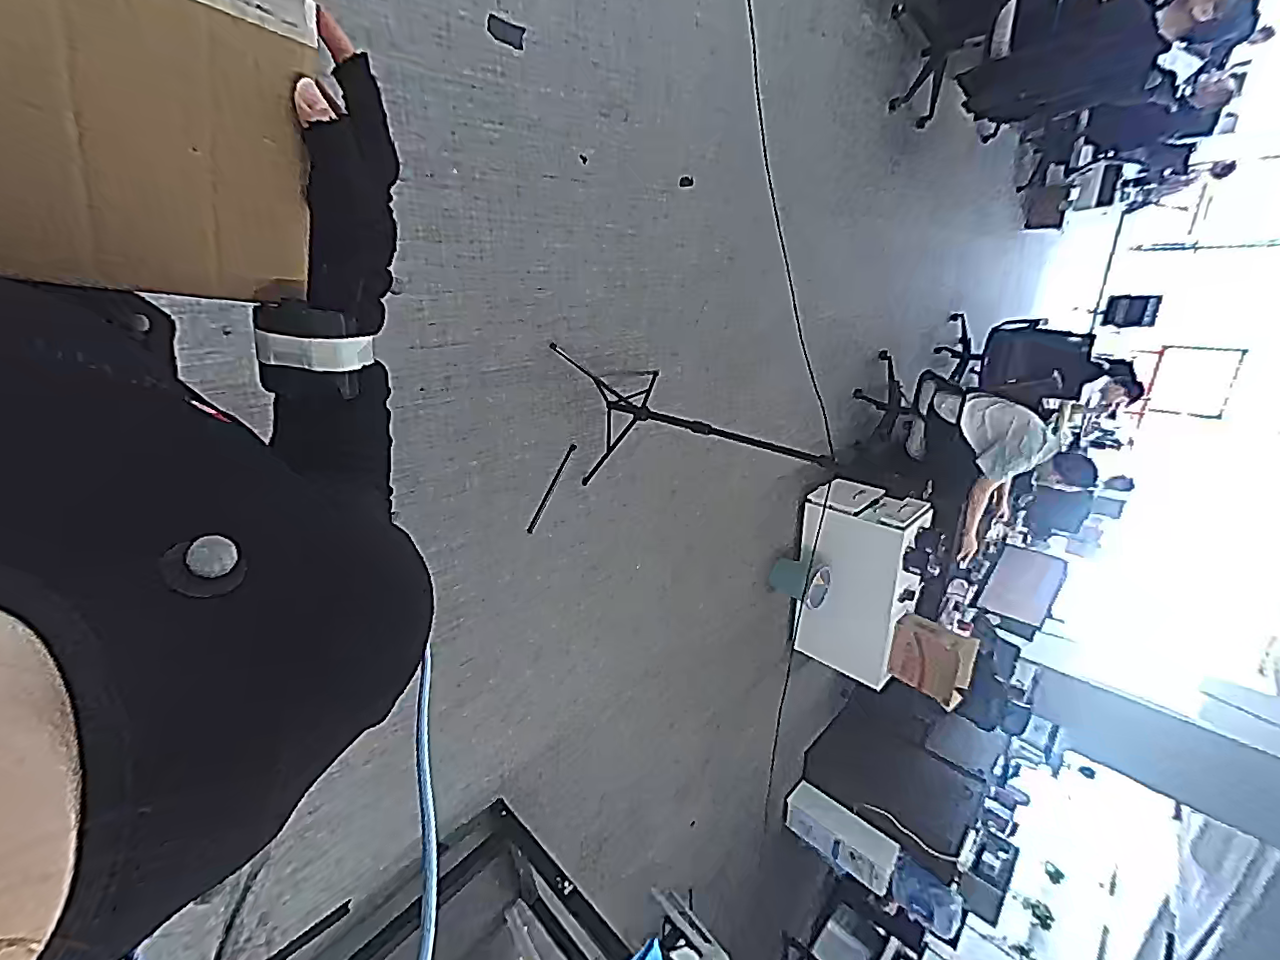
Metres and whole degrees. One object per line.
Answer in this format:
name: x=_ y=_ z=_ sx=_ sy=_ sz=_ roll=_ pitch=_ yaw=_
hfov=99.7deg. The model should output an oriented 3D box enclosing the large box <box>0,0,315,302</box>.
large box: x=-0.425 y=-0.304 z=0.256 sx=0.408 sy=0.320 sz=0.320 roll=-9 pitch=130 yaw=-45
